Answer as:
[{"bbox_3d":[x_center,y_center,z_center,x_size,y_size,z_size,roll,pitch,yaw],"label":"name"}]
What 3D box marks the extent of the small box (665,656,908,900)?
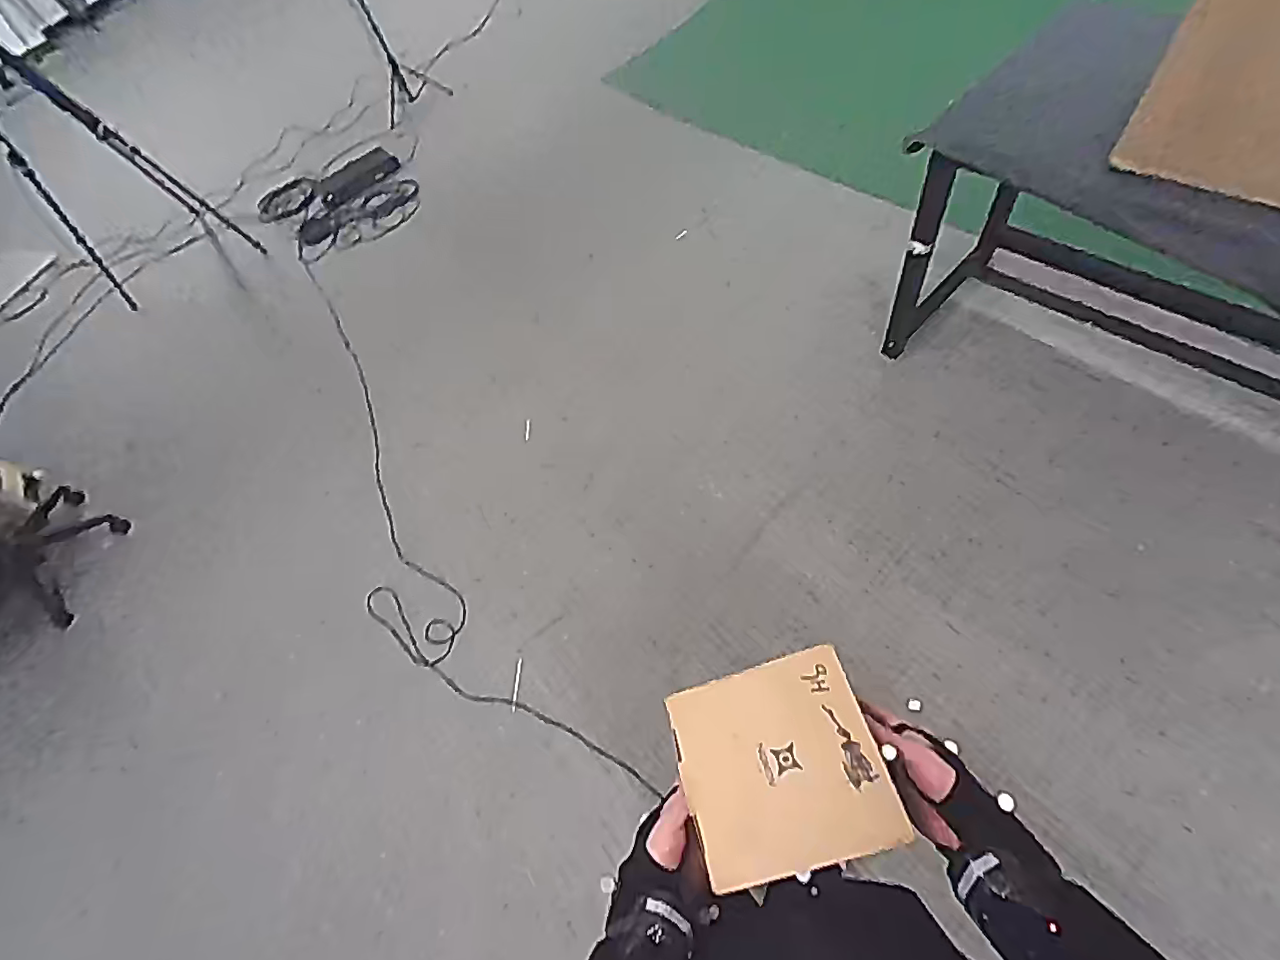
[{"bbox_3d":[0.147,0.301,0.553,0.179,0.176,0.168,-21,57,9],"label":"small box"}]
